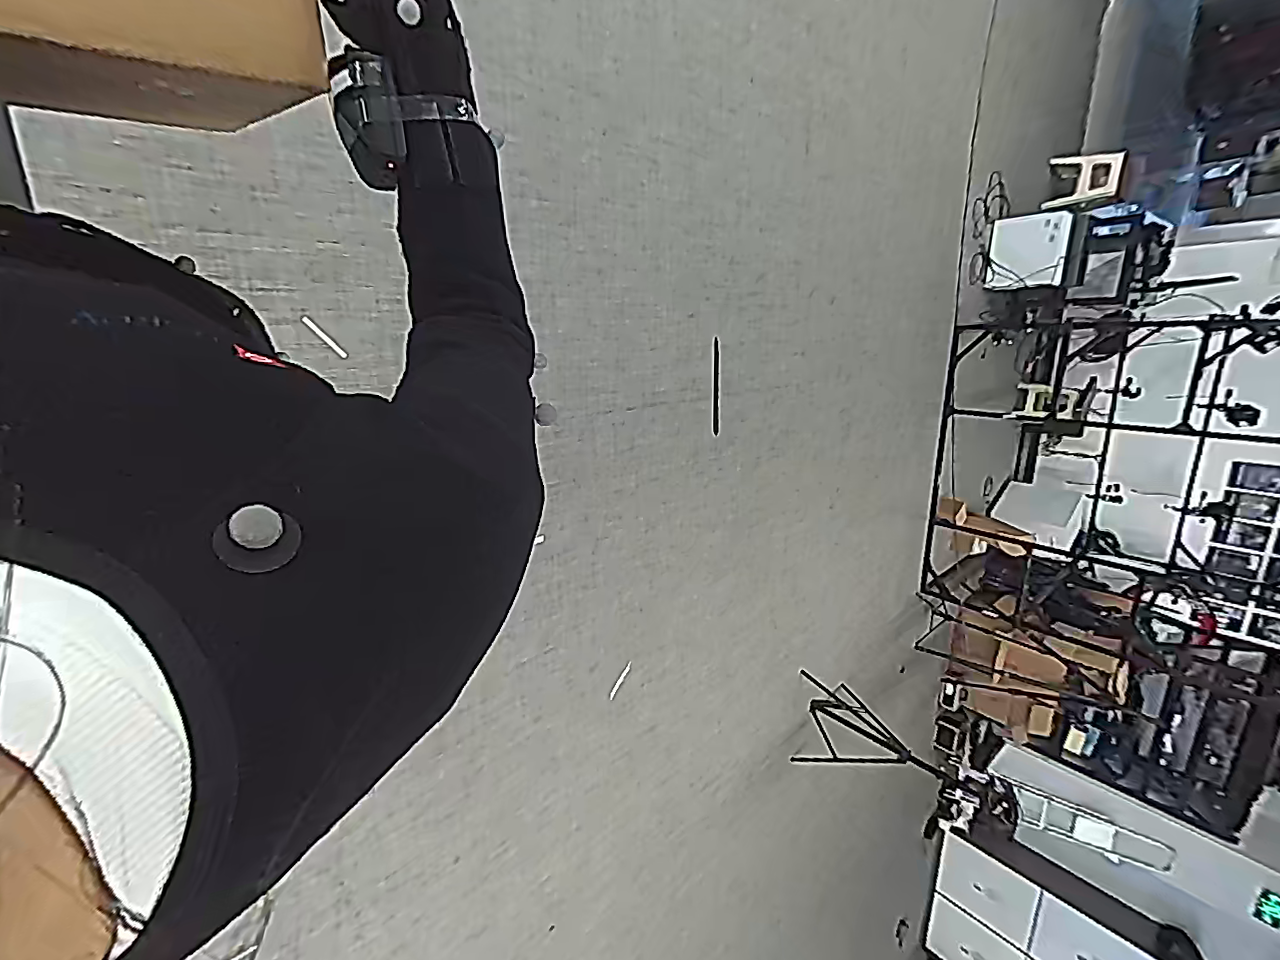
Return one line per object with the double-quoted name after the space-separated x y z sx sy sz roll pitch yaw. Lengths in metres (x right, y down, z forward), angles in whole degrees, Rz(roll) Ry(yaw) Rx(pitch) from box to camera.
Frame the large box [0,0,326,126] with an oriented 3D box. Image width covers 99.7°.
-0.441 -0.381 0.250 0.408 0.320 0.320 -21 125 -40 "large box"
